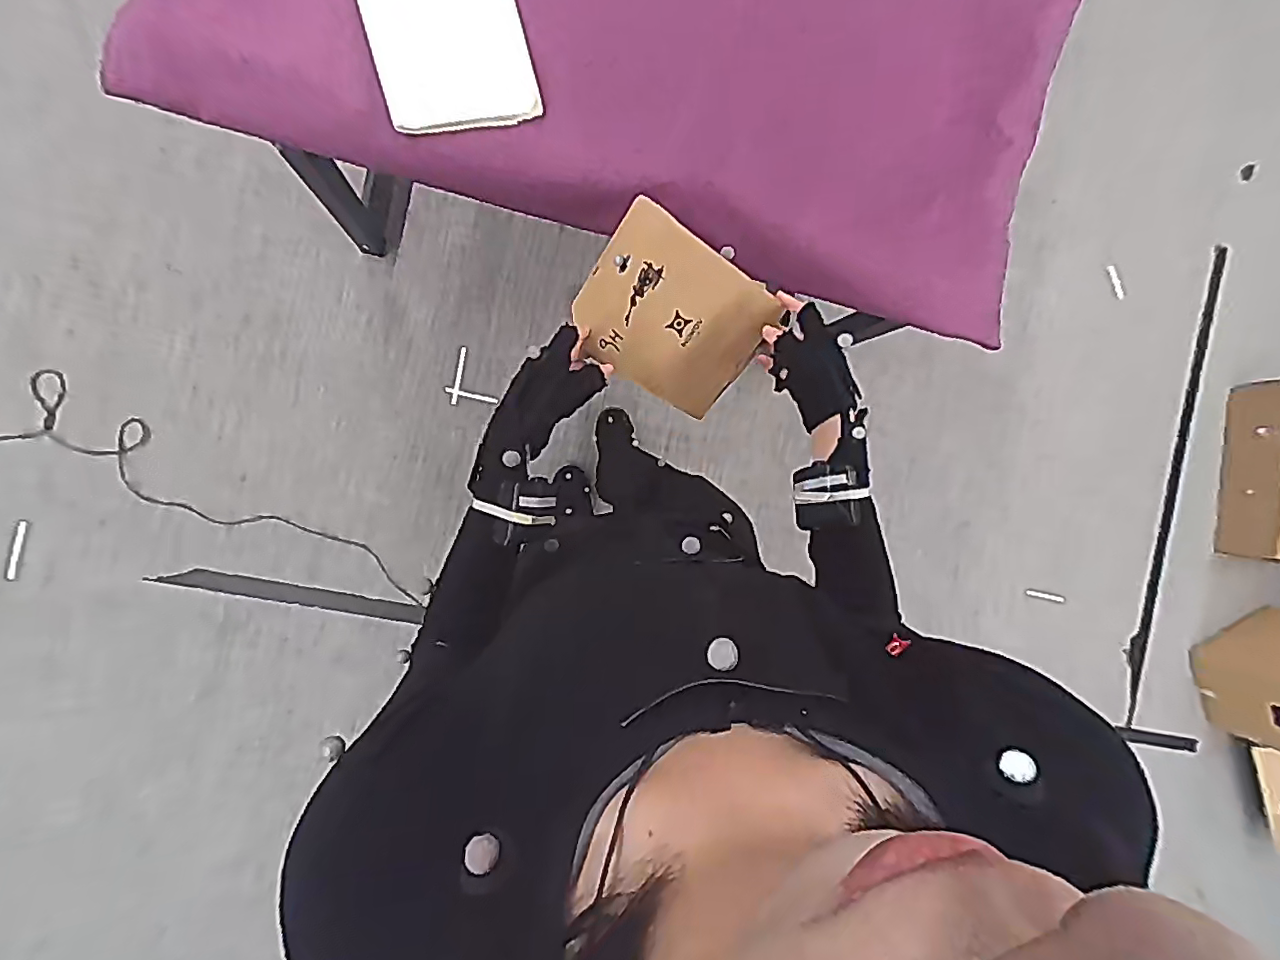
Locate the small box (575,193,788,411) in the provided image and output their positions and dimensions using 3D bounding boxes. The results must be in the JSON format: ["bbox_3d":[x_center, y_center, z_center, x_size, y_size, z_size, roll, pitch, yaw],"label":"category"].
[{"bbox_3d":[0.037,-0.218,0.649,0.179,0.176,0.168,27,114,-25],"label":"small box"}]
